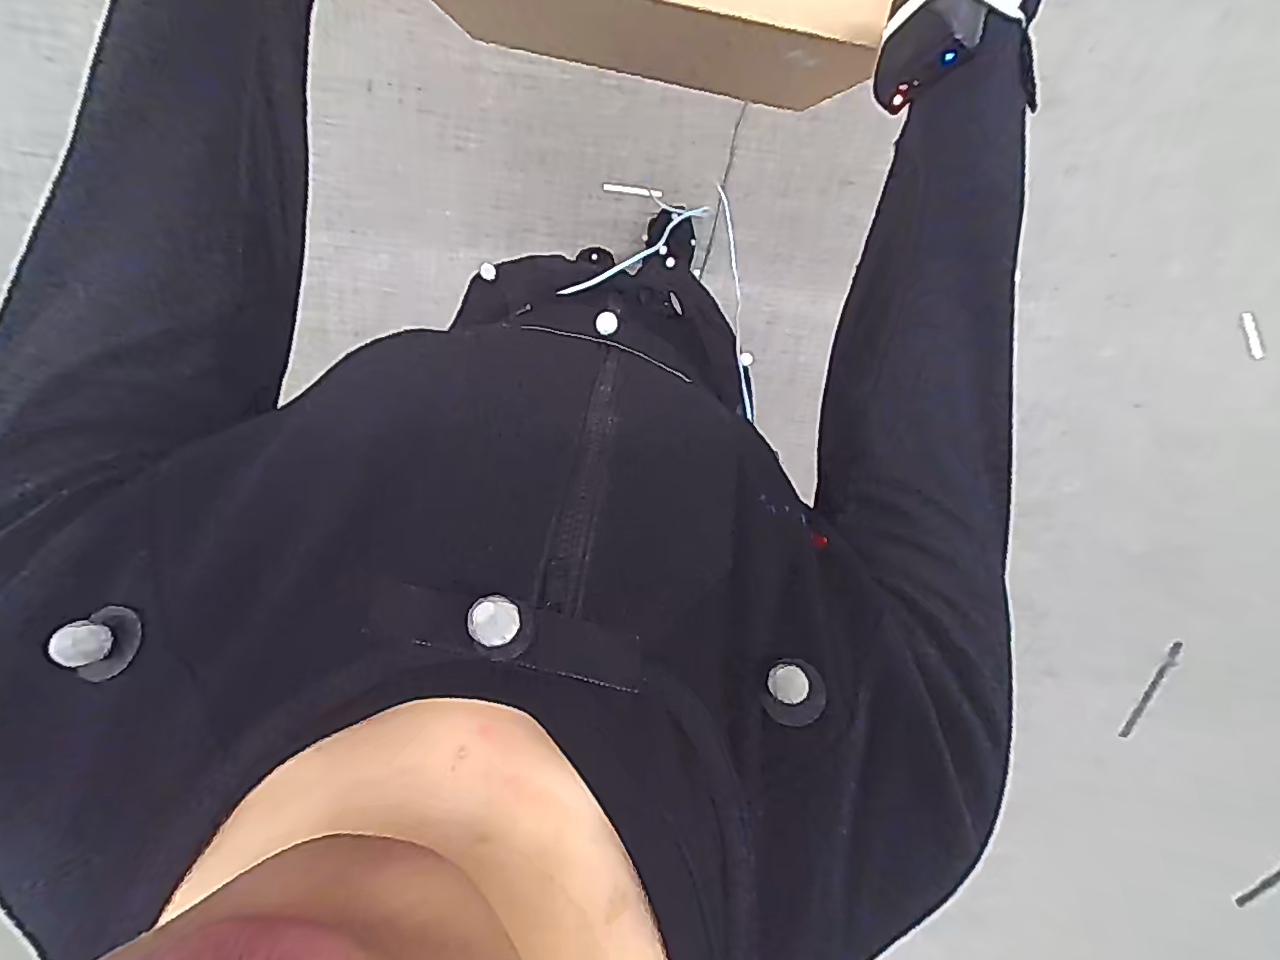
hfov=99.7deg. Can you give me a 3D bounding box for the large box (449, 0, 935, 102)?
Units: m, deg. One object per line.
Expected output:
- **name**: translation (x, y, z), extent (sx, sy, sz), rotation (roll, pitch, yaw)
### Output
- **large box**: translation (0.034, -0.550, 0.444), extent (0.408, 0.320, 0.320), rotation (9, 119, -5)
